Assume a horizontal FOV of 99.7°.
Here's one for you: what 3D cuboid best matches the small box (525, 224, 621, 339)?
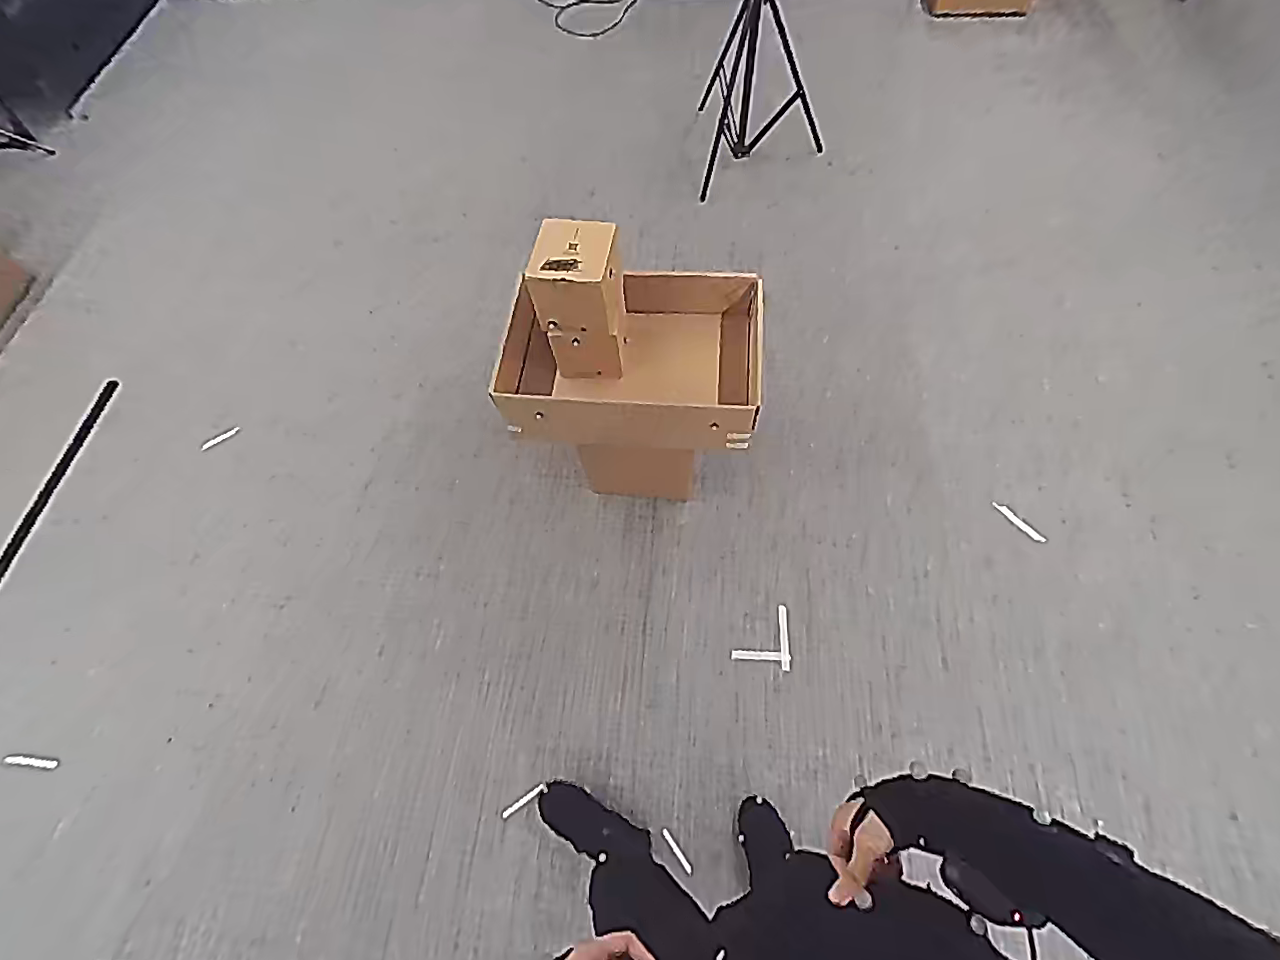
[{"bbox_3d":[-0.141,-0.438,1.210,0.168,0.176,0.179,7,65,6],"label":"small box"}]

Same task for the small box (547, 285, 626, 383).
[{"bbox_3d":[-0.127,-0.367,1.358,0.168,0.176,0.179,1,64,4],"label":"small box"}]
